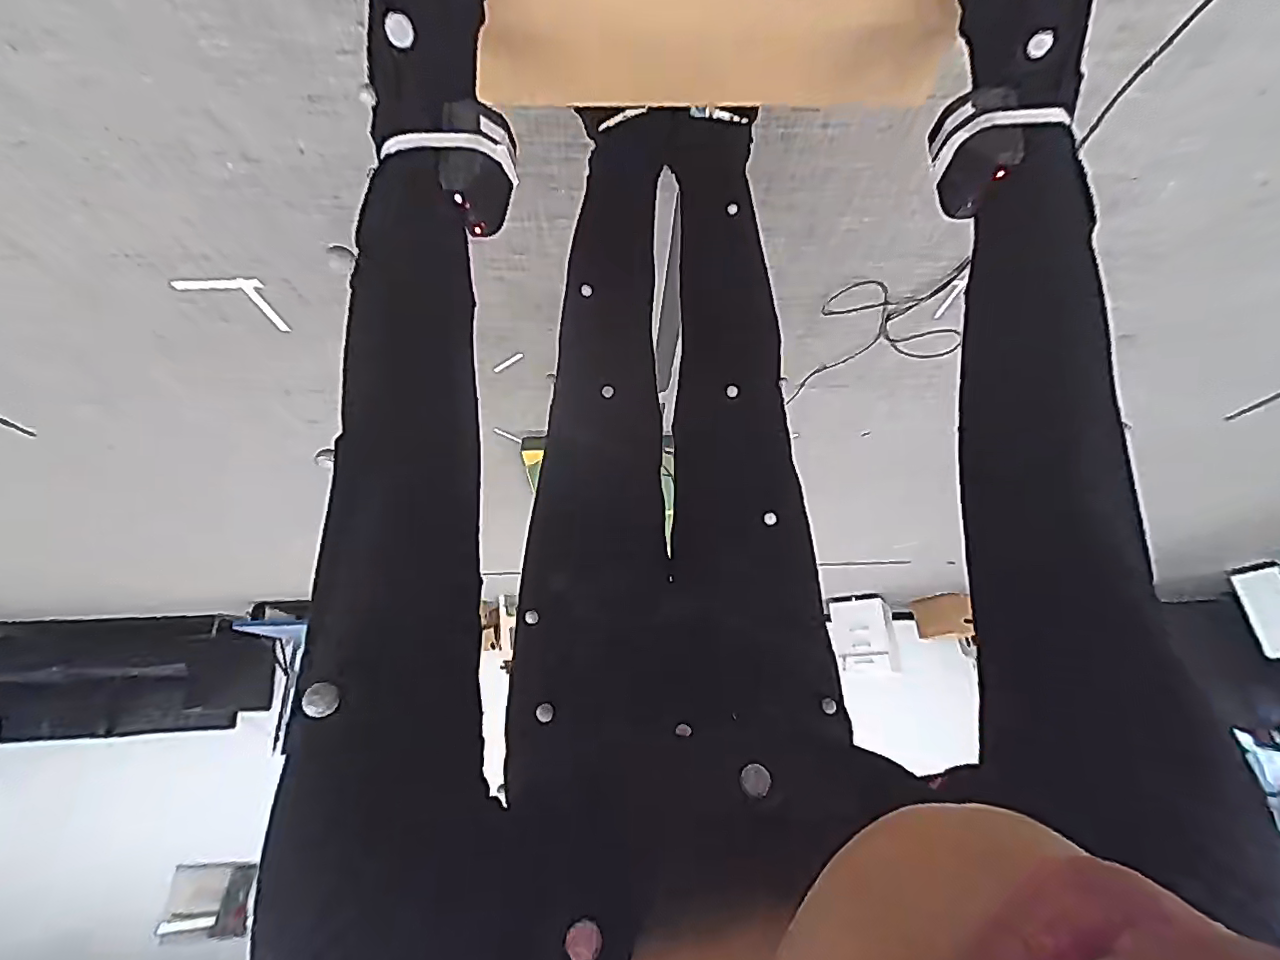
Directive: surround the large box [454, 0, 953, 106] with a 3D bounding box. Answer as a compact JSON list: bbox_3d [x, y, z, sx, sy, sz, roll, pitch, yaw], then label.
[{"bbox_3d":[0.045,-0.543,0.407,0.408,0.320,0.320,-2,159,-1],"label":"large box"}]
